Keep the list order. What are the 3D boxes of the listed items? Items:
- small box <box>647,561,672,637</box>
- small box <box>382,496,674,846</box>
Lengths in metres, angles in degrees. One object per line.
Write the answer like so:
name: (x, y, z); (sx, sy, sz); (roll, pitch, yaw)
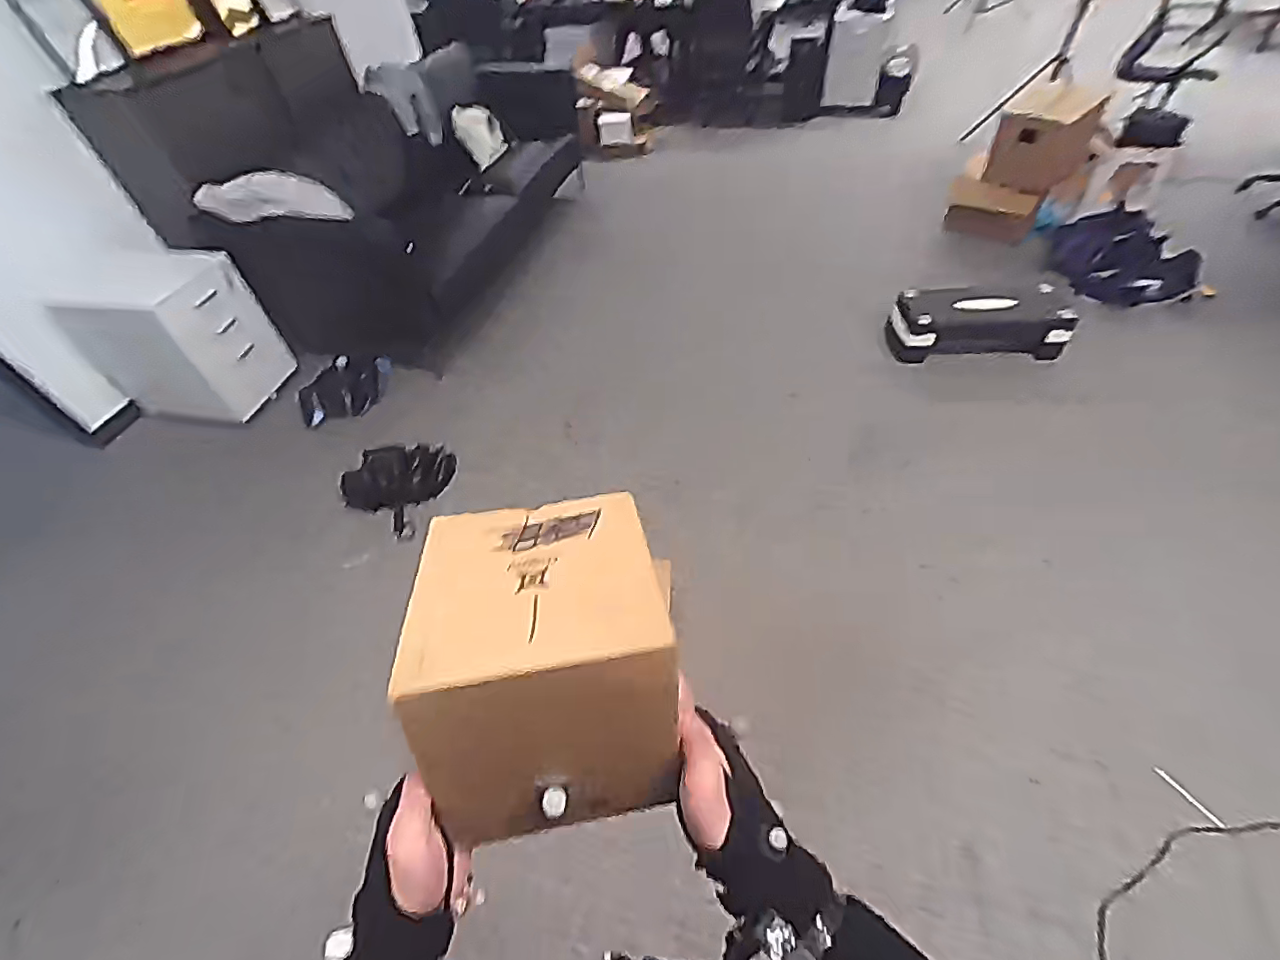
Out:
small box: (0.011, 0.363, 1.628); (0.168, 0.176, 0.179); (0, 48, 4)
small box: (-0.071, 0.136, 0.416); (0.168, 0.176, 0.179); (-8, 33, -6)
